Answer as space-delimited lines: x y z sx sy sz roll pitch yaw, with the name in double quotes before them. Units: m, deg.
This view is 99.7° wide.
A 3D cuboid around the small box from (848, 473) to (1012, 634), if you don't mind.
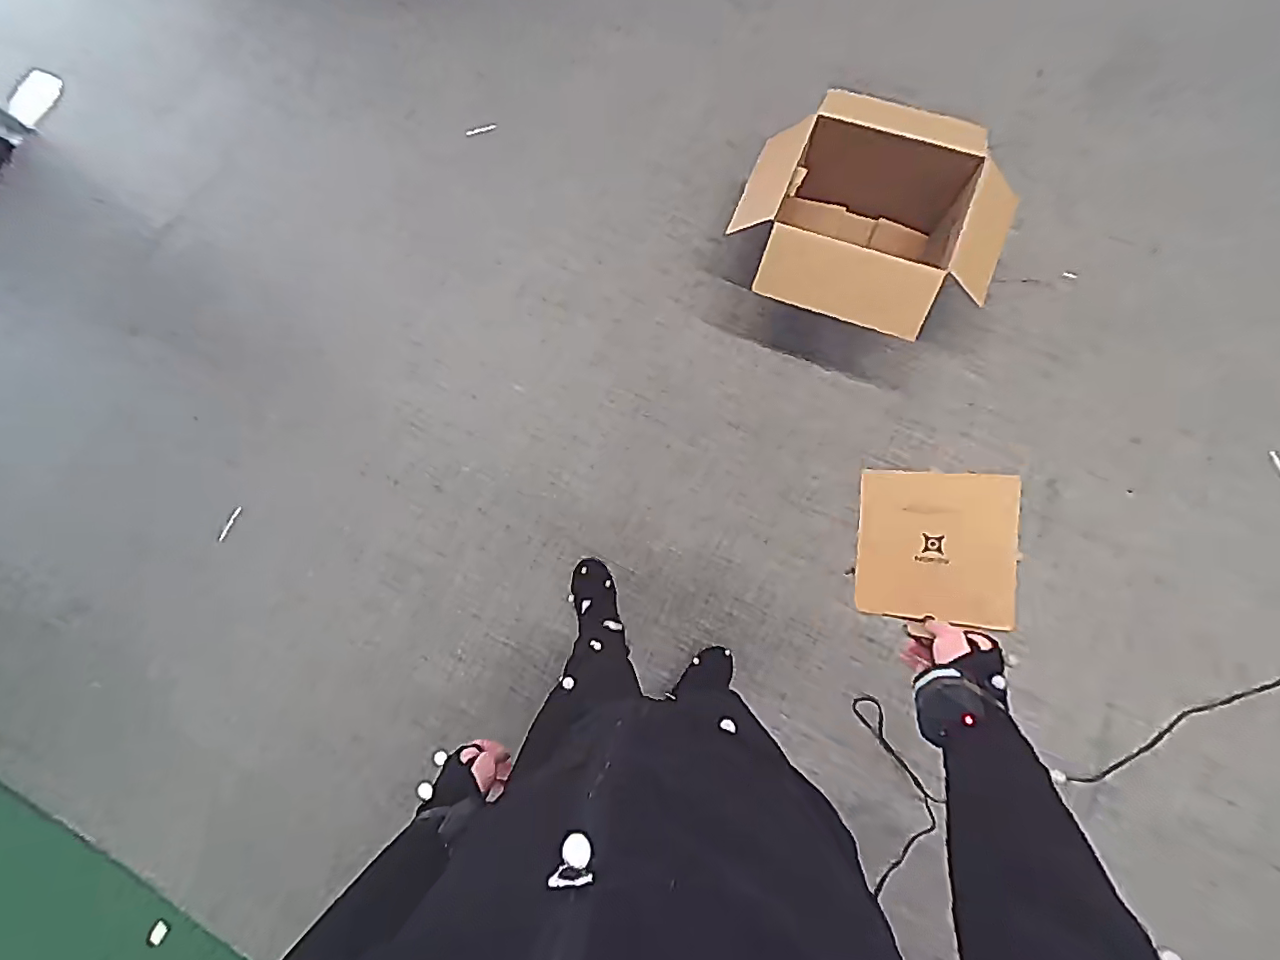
"small box" 0.367 0.089 0.712 0.168 0.176 0.179 3 85 20
